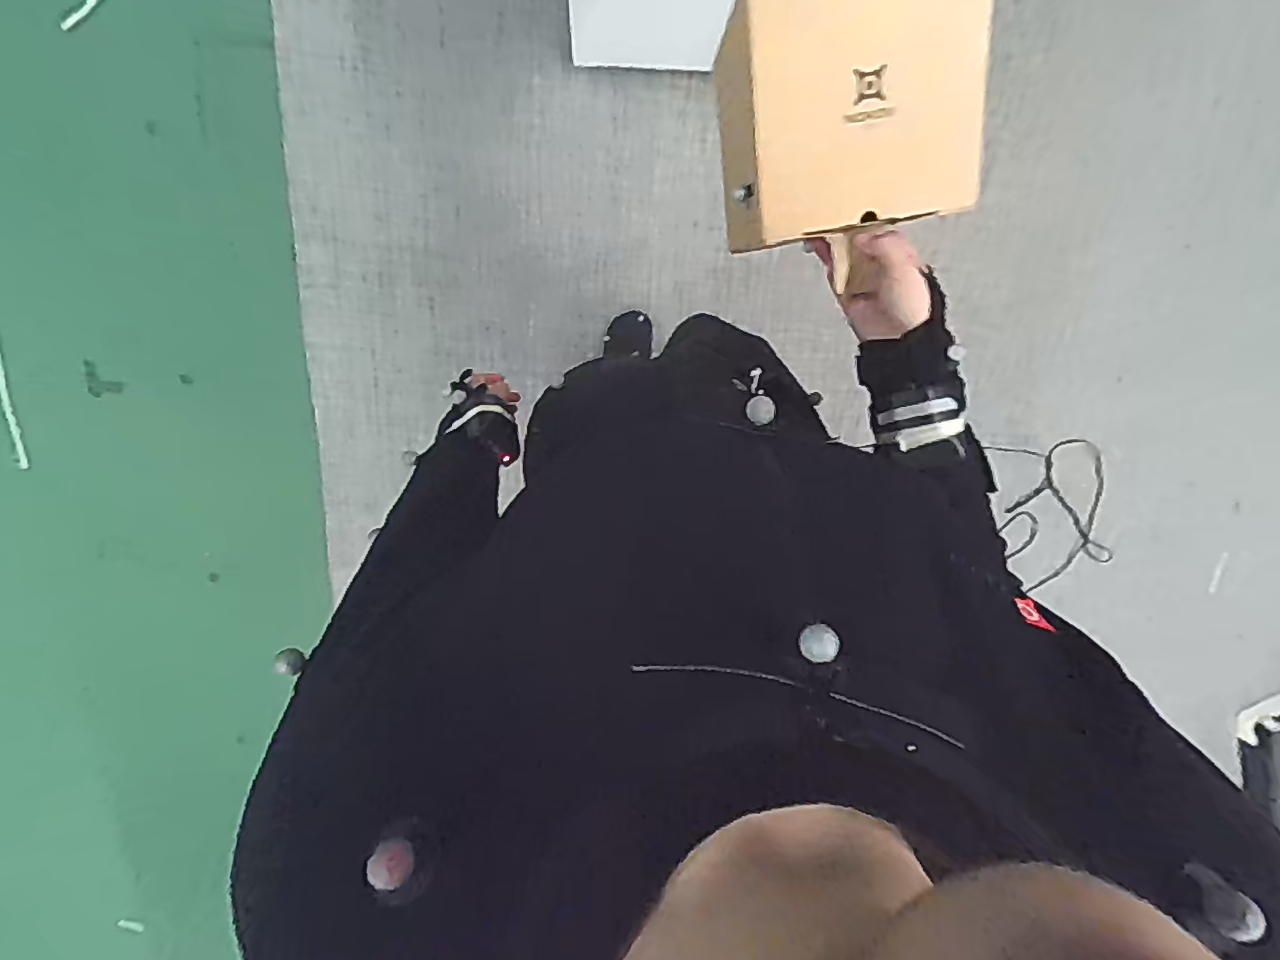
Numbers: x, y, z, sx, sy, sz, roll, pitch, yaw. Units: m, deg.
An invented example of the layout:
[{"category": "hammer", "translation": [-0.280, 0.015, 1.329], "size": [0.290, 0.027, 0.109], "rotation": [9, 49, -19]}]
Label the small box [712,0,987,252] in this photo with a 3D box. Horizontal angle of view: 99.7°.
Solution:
[{"category": "small box", "translation": [0.160, -0.304, 0.461], "size": [0.168, 0.176, 0.179], "rotation": [-9, 111, 3]}]
